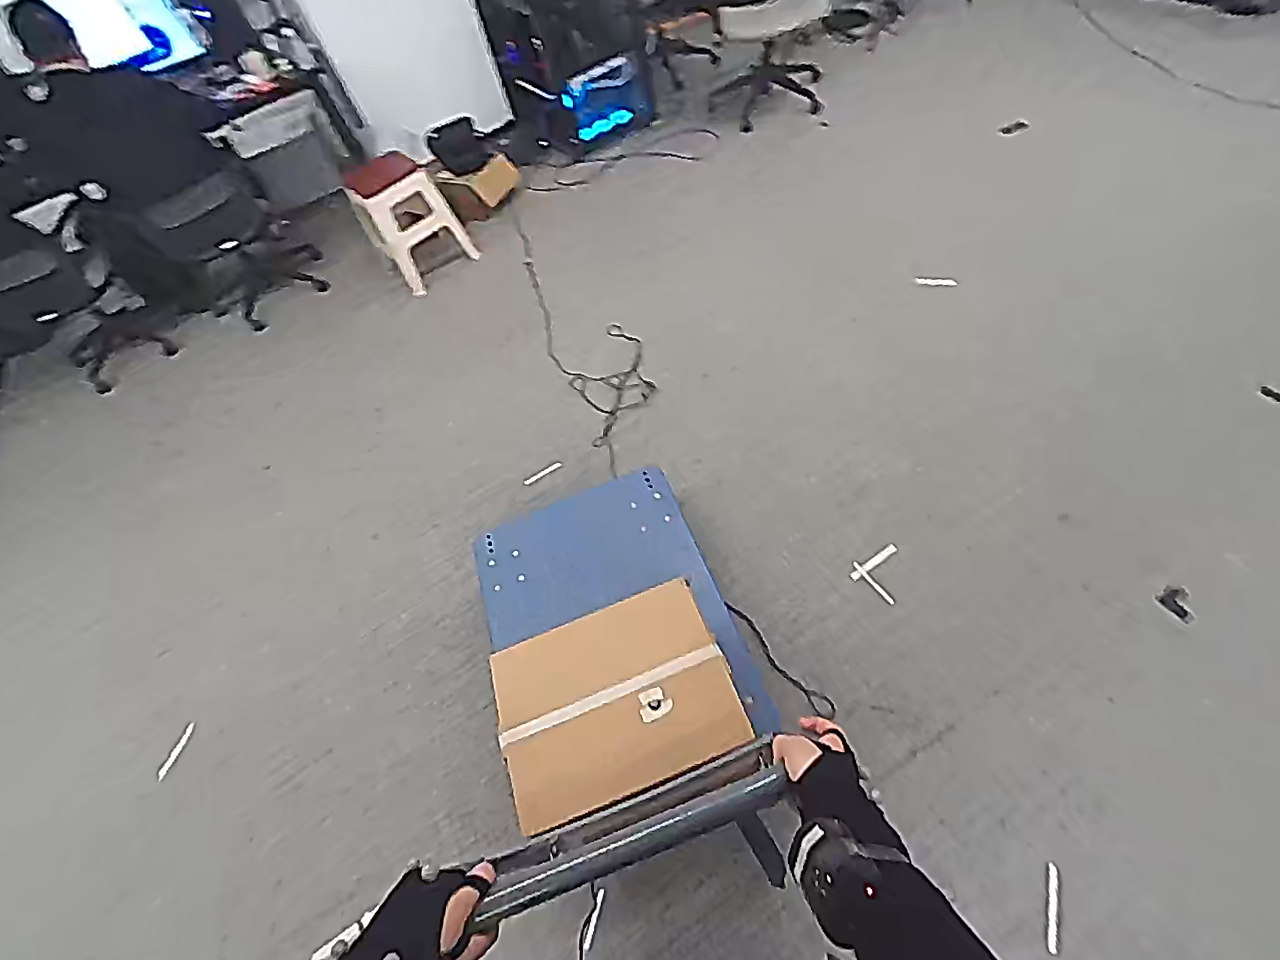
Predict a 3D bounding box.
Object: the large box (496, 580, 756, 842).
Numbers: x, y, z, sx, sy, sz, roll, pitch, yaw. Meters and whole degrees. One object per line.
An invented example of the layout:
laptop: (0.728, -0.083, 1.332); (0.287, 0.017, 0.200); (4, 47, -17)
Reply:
large box: (-0.018, 0.465, 1.075); (0.408, 0.320, 0.320); (-22, 55, -4)
